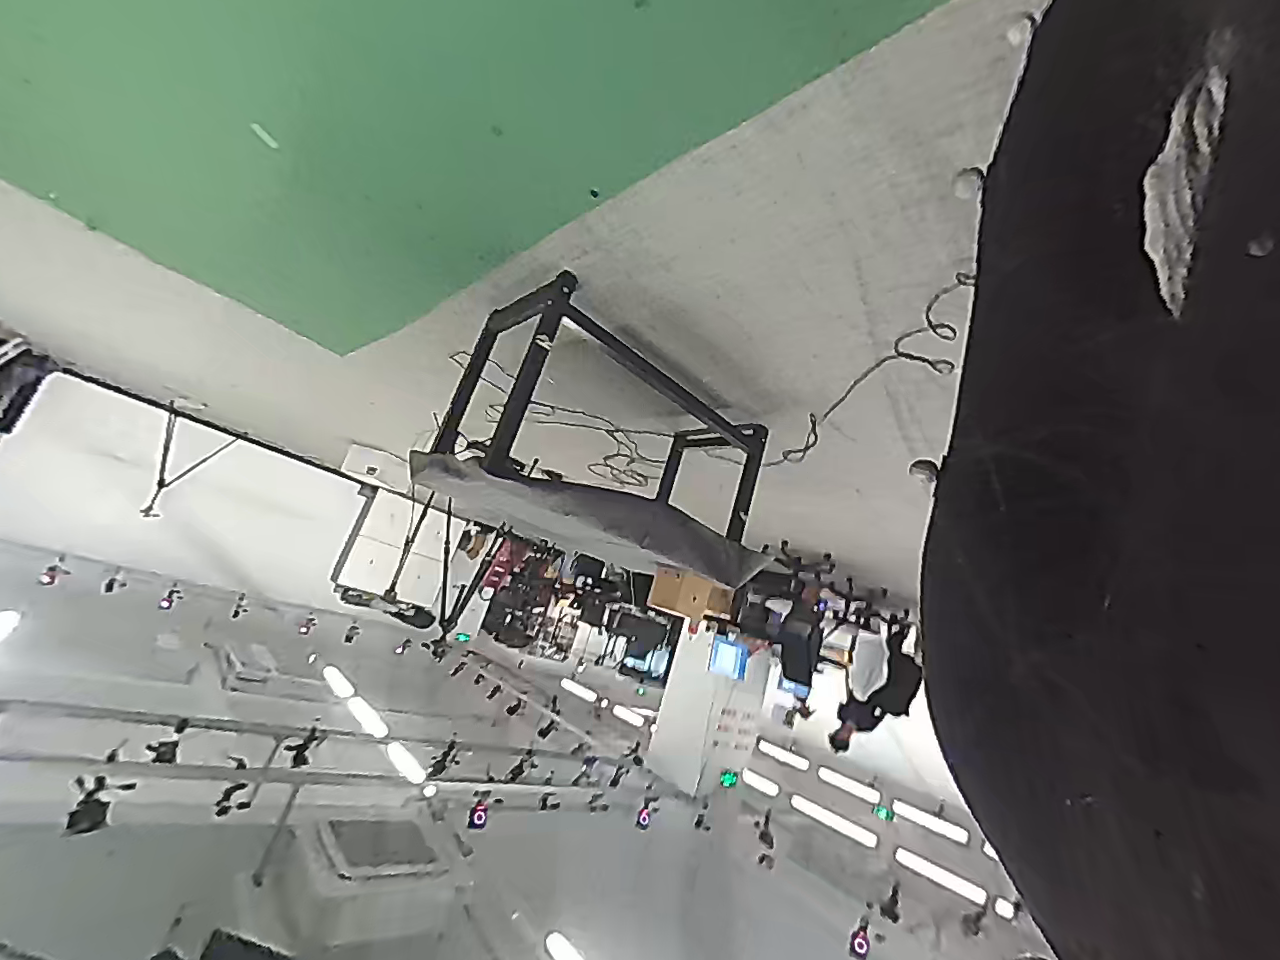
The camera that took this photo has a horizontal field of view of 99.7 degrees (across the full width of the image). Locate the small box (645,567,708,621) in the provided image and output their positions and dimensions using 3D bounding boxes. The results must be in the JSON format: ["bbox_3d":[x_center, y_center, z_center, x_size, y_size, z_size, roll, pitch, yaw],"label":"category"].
[{"bbox_3d":[0.153,0.464,2.224,0.179,0.176,0.168,29,162,-37],"label":"small box"}]
